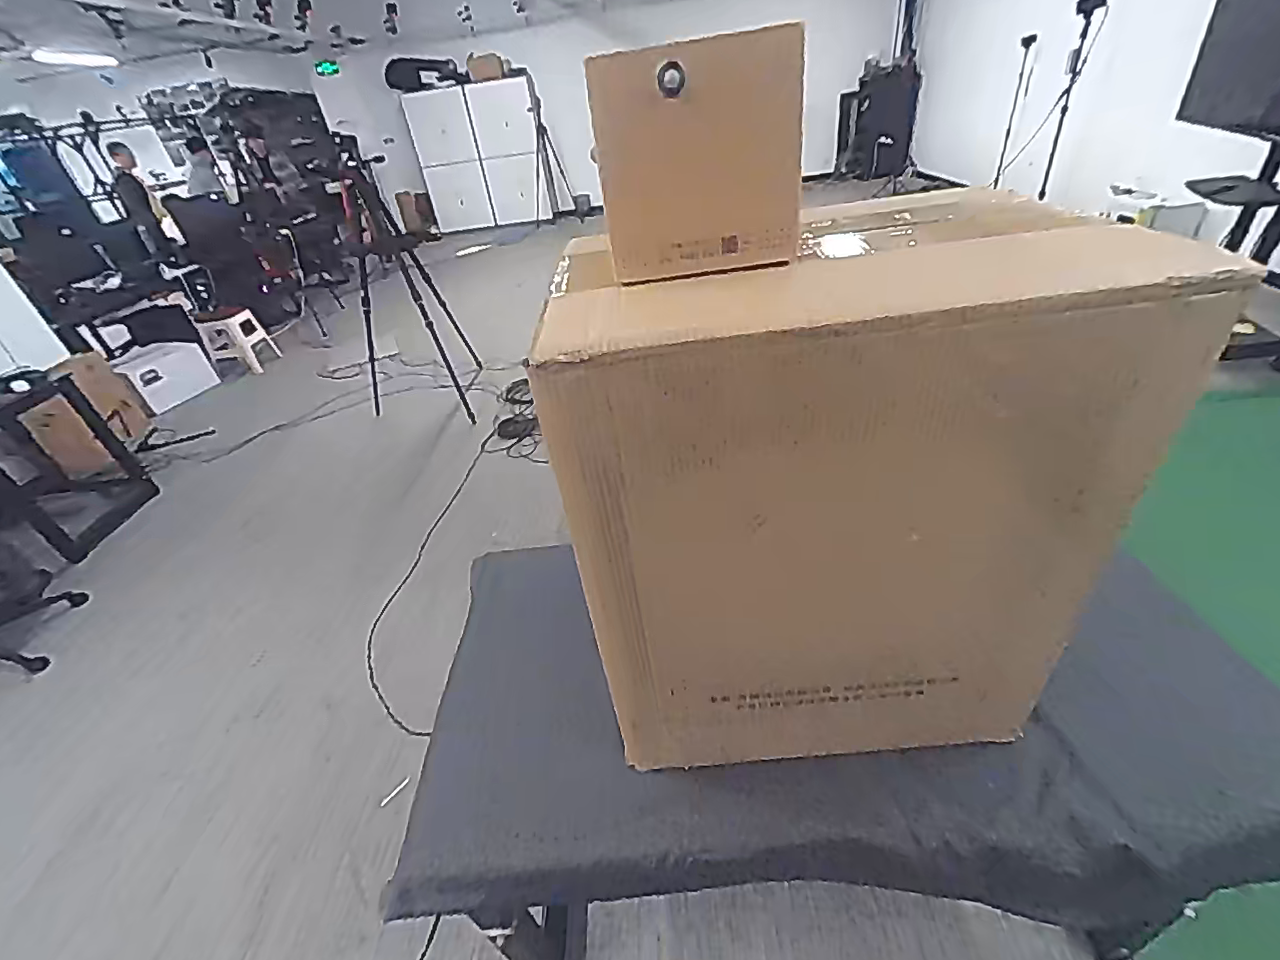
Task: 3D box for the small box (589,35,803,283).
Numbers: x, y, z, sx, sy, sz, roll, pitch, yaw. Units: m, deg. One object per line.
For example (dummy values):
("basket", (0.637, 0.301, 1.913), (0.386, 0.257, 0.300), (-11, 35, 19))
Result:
("small box", (0.052, -0.299, 0.521), (0.168, 0.176, 0.179), (-6, 33, 4))
